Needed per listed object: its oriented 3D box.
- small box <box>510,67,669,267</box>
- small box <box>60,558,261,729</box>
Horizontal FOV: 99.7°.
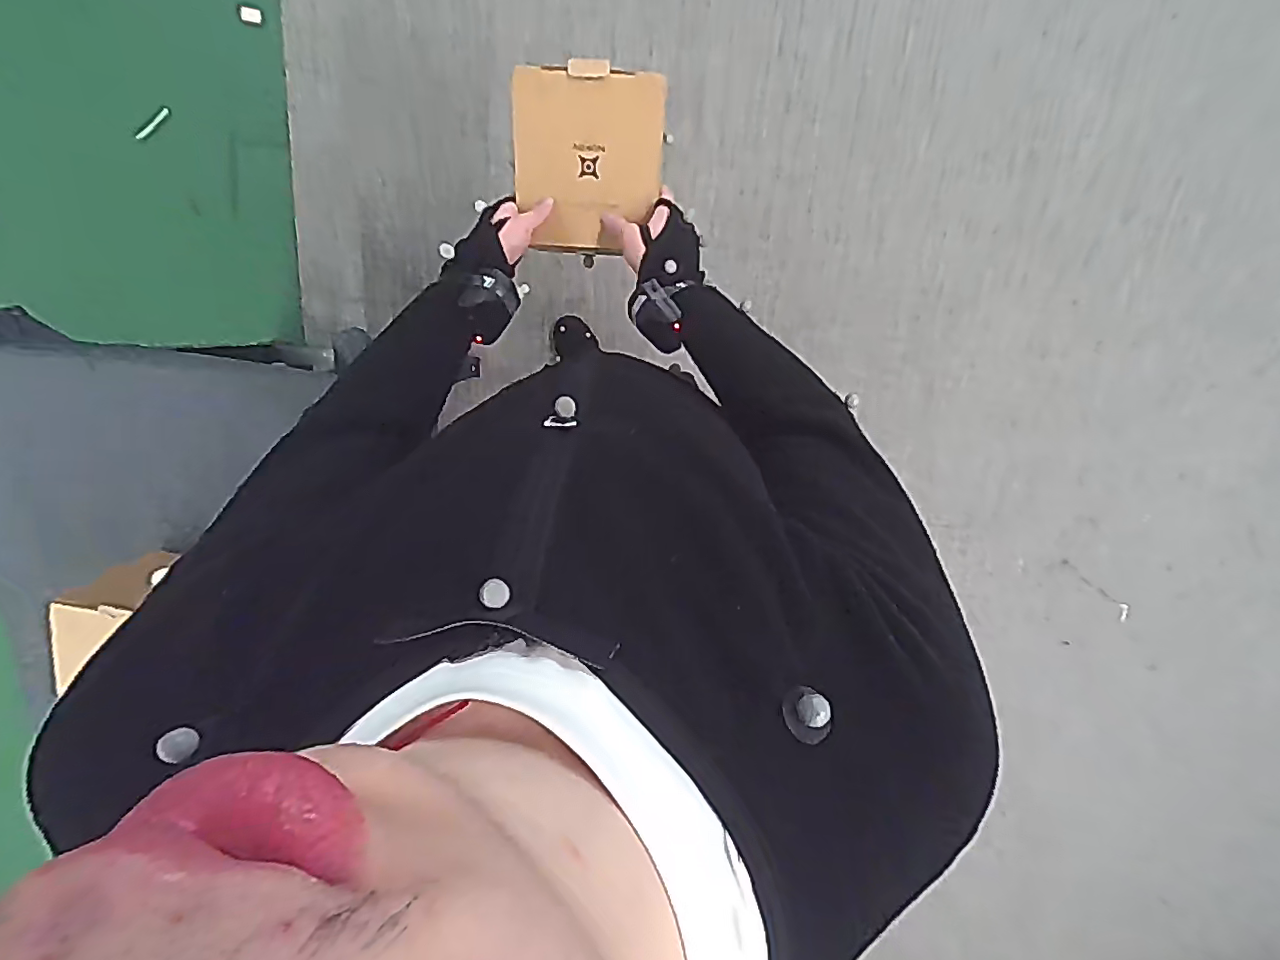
[{"bbox_3d":[-0.057,-0.365,0.663,0.168,0.176,0.179,5,109,0],"label":"small box"},{"bbox_3d":[-0.718,0.238,0.828,0.168,0.176,0.179,13,105,-3],"label":"small box"}]
